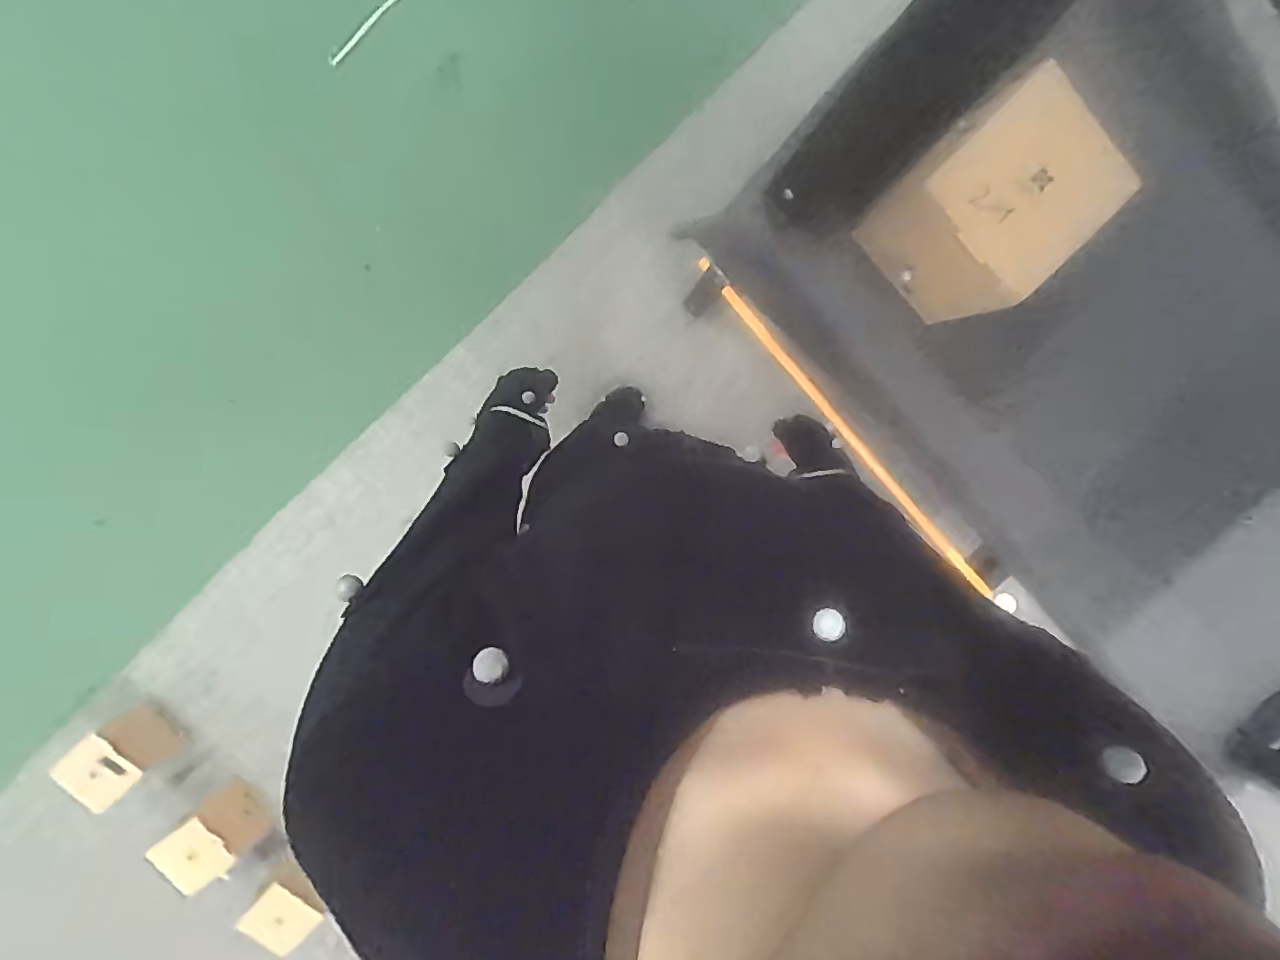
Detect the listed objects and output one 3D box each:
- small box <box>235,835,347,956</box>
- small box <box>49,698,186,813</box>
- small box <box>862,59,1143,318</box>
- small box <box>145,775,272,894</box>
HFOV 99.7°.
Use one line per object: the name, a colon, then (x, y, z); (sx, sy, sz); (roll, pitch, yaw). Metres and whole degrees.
small box: (-0.973, 1.167, 1.528); (0.168, 0.176, 0.179); (44, 92, -10)
small box: (-1.373, 0.723, 1.441); (0.179, 0.176, 0.168); (-41, 98, 4)
small box: (0.402, -0.318, 0.633); (0.179, 0.176, 0.168); (-45, 98, 4)
small box: (-1.174, 0.967, 1.488); (0.179, 0.176, 0.168); (-36, 99, 2)
